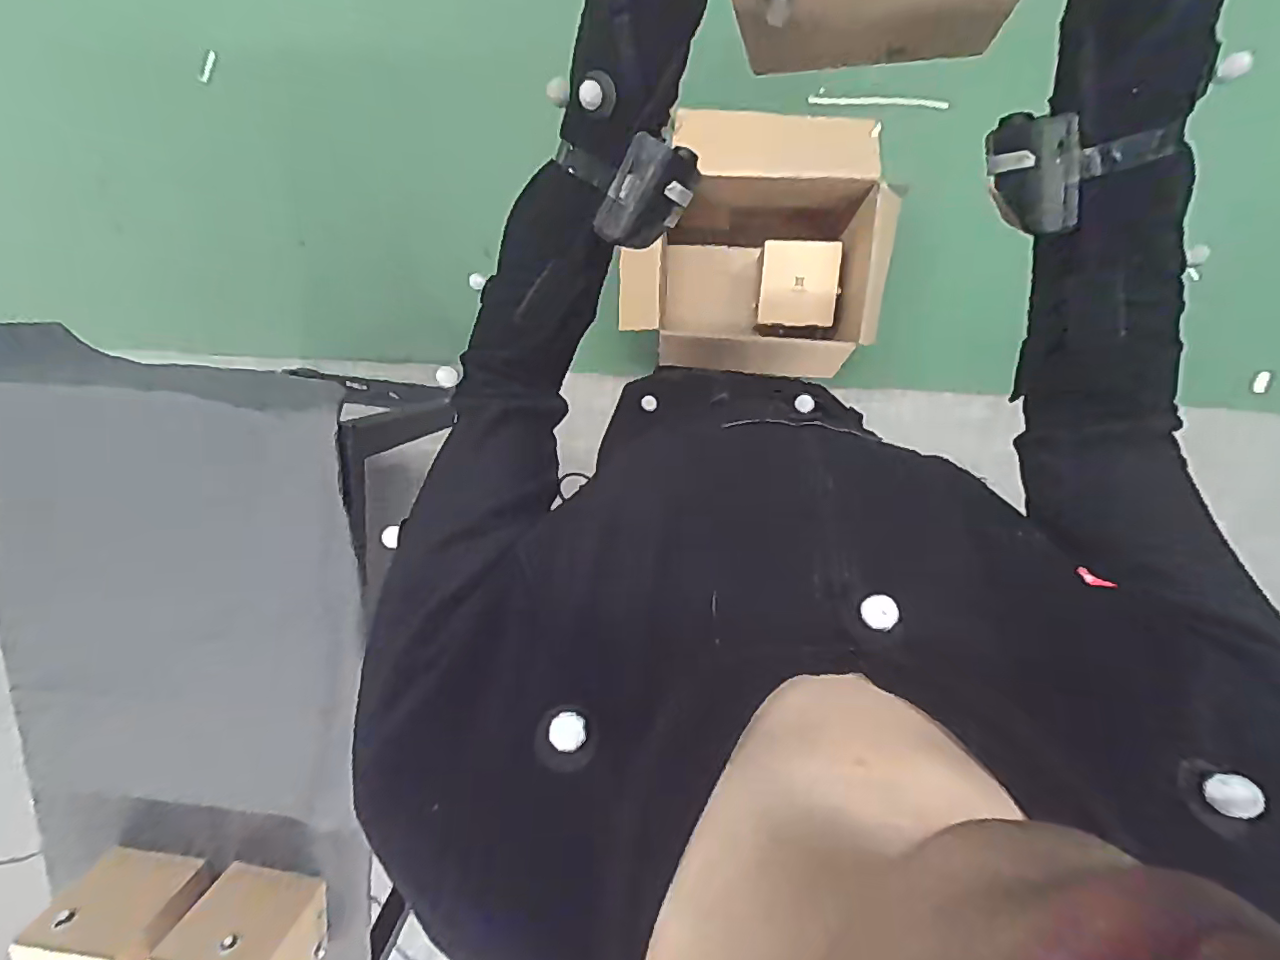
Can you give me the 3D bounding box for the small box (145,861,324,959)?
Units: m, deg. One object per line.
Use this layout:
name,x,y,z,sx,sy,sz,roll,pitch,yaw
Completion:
small box,-0.654,0.778,0.896,0.179,0.176,0.168,8,104,4

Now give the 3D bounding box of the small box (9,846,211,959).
small box,-0.869,0.757,0.907,0.179,0.176,0.168,7,104,3
